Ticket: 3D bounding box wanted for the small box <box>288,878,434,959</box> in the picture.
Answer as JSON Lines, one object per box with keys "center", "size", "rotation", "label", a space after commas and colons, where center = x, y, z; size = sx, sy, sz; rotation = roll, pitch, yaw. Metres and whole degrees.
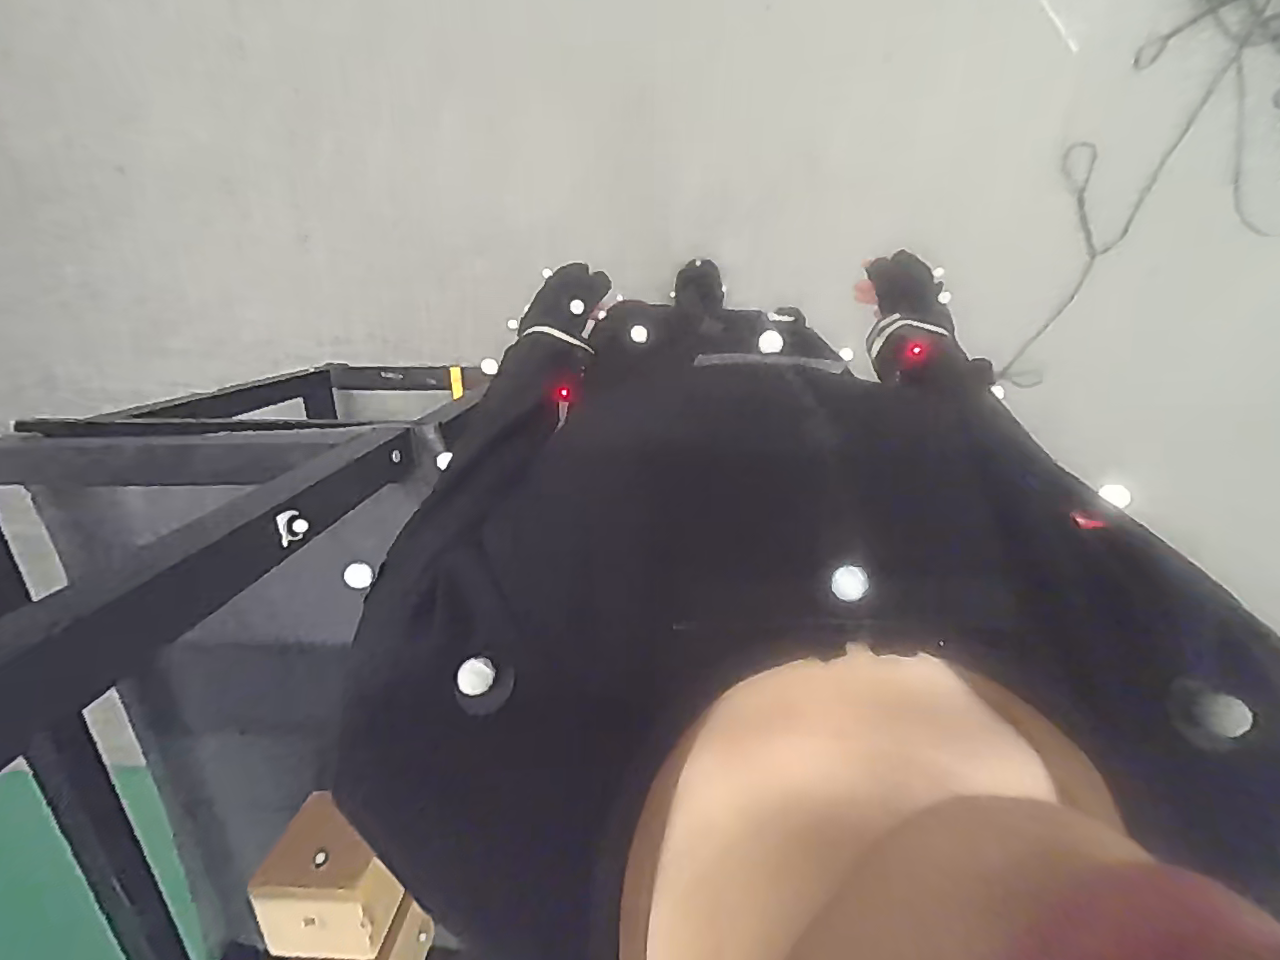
{"center": [-0.494, 0.853, 0.968], "size": [0.179, 0.176, 0.168], "rotation": [1, 109, 3], "label": "small box"}
